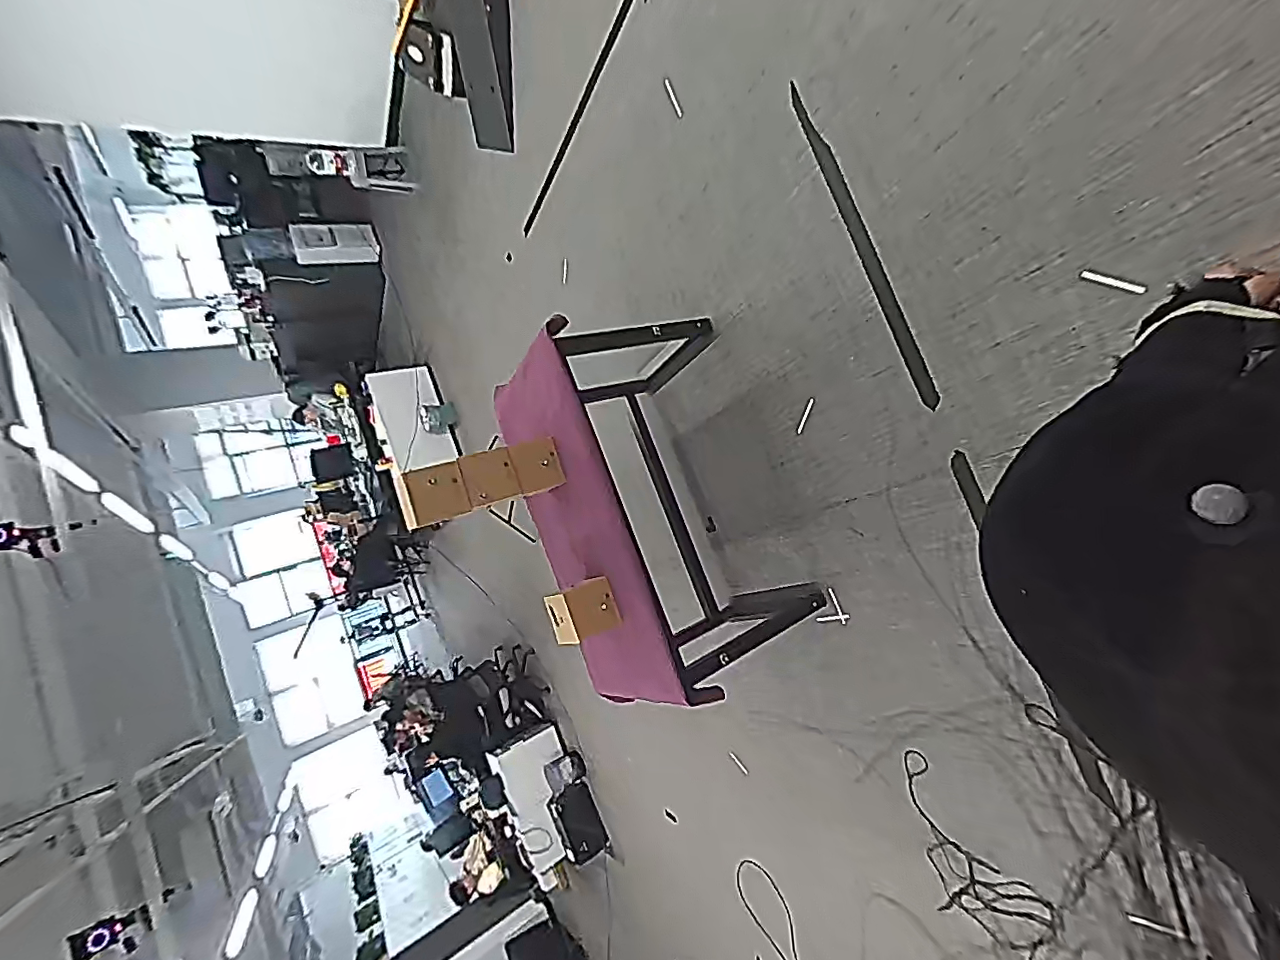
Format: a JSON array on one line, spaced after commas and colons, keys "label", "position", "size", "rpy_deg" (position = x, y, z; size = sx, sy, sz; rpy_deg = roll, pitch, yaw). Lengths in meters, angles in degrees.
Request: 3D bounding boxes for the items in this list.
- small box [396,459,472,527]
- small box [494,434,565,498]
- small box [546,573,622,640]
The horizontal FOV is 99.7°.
[{"label": "small box", "position": [-0.637, 0.040, 1.676], "size": [0.179, 0.176, 0.168], "rpy_deg": [-16, 90, 59]}, {"label": "small box", "position": [-0.378, -0.046, 1.857], "size": [0.179, 0.176, 0.168], "rpy_deg": [-19, 90, 57]}, {"label": "small box", "position": [-0.185, 0.419, 1.788], "size": [0.179, 0.176, 0.168], "rpy_deg": [-26, 83, 56]}]
